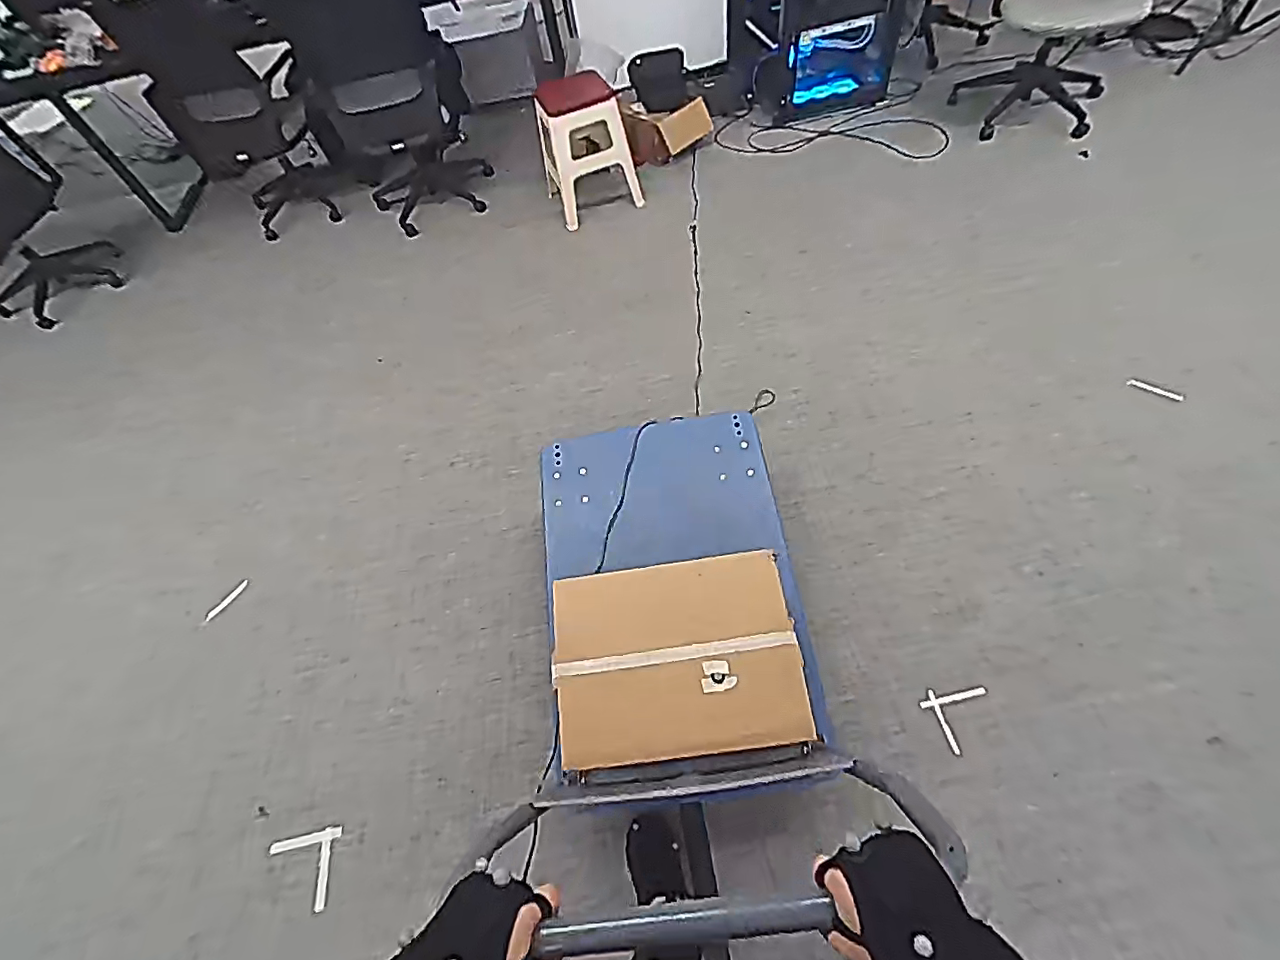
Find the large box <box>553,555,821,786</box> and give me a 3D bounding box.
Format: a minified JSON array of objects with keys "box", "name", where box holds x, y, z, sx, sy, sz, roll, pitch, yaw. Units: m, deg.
[{"box":[0.074,0.363,1.021,0.408,0.320,0.320,-9,65,2],"name":"large box"}]
